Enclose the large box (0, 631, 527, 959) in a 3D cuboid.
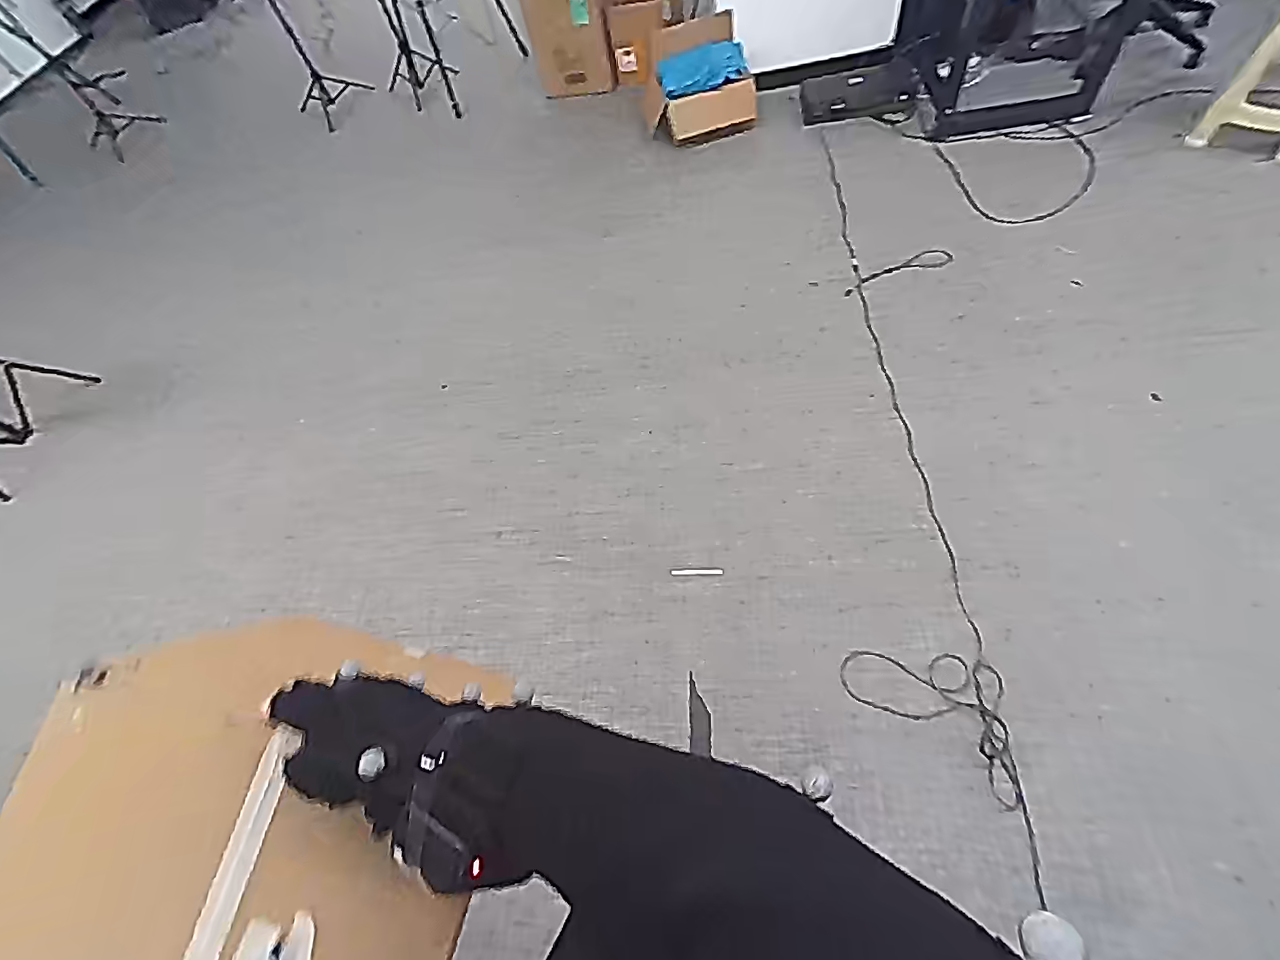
[{"bbox_3d":[-0.320,0.395,0.514,0.320,0.320,0.408,17,79,-6],"label":"large box"}]
